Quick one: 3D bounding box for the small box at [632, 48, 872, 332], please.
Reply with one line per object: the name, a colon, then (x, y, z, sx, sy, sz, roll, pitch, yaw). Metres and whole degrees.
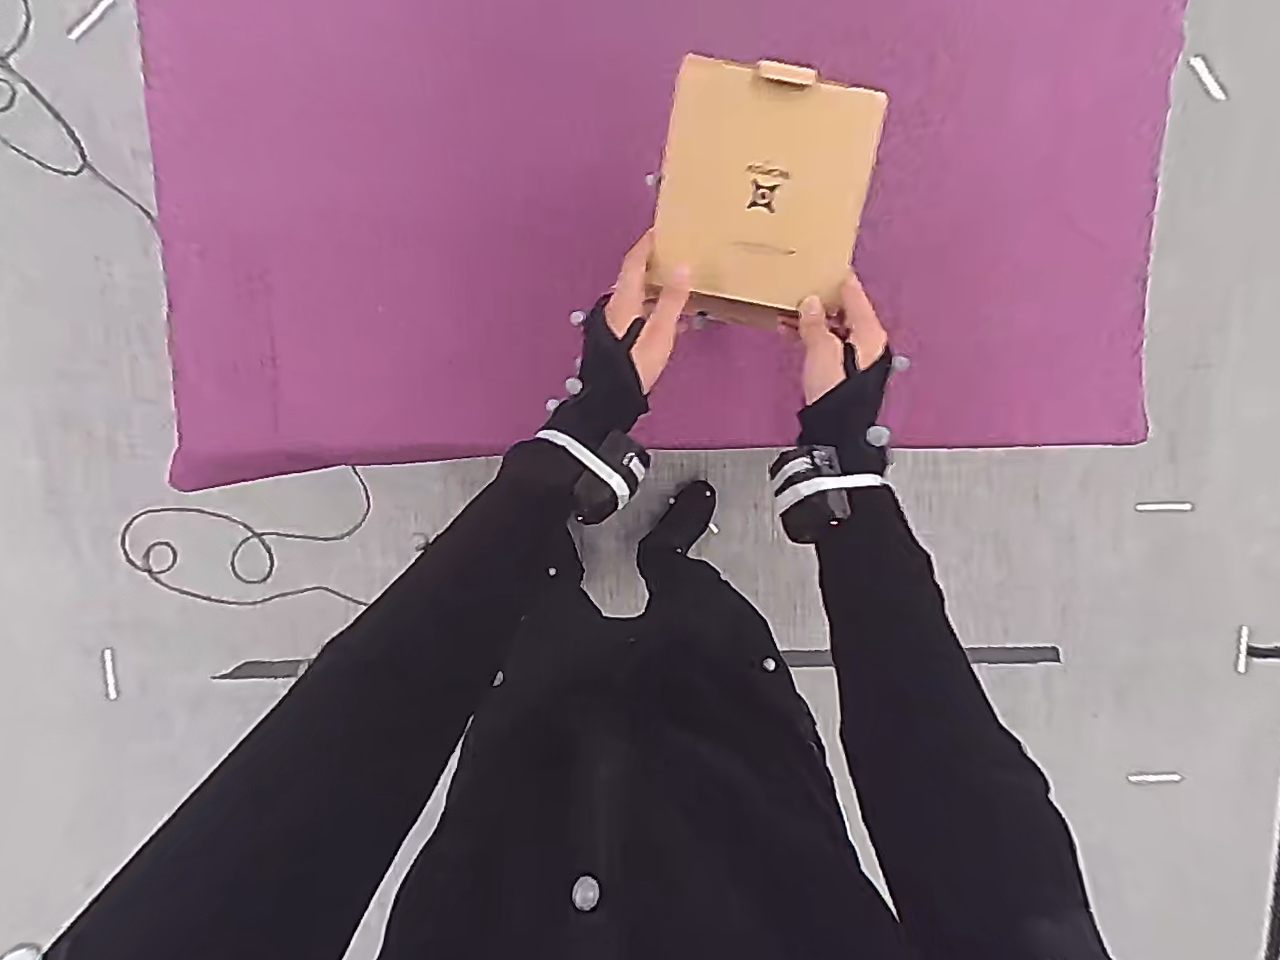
small box: (0.086, -0.247, 0.509, 0.168, 0.176, 0.179, 10, 101, -3)
